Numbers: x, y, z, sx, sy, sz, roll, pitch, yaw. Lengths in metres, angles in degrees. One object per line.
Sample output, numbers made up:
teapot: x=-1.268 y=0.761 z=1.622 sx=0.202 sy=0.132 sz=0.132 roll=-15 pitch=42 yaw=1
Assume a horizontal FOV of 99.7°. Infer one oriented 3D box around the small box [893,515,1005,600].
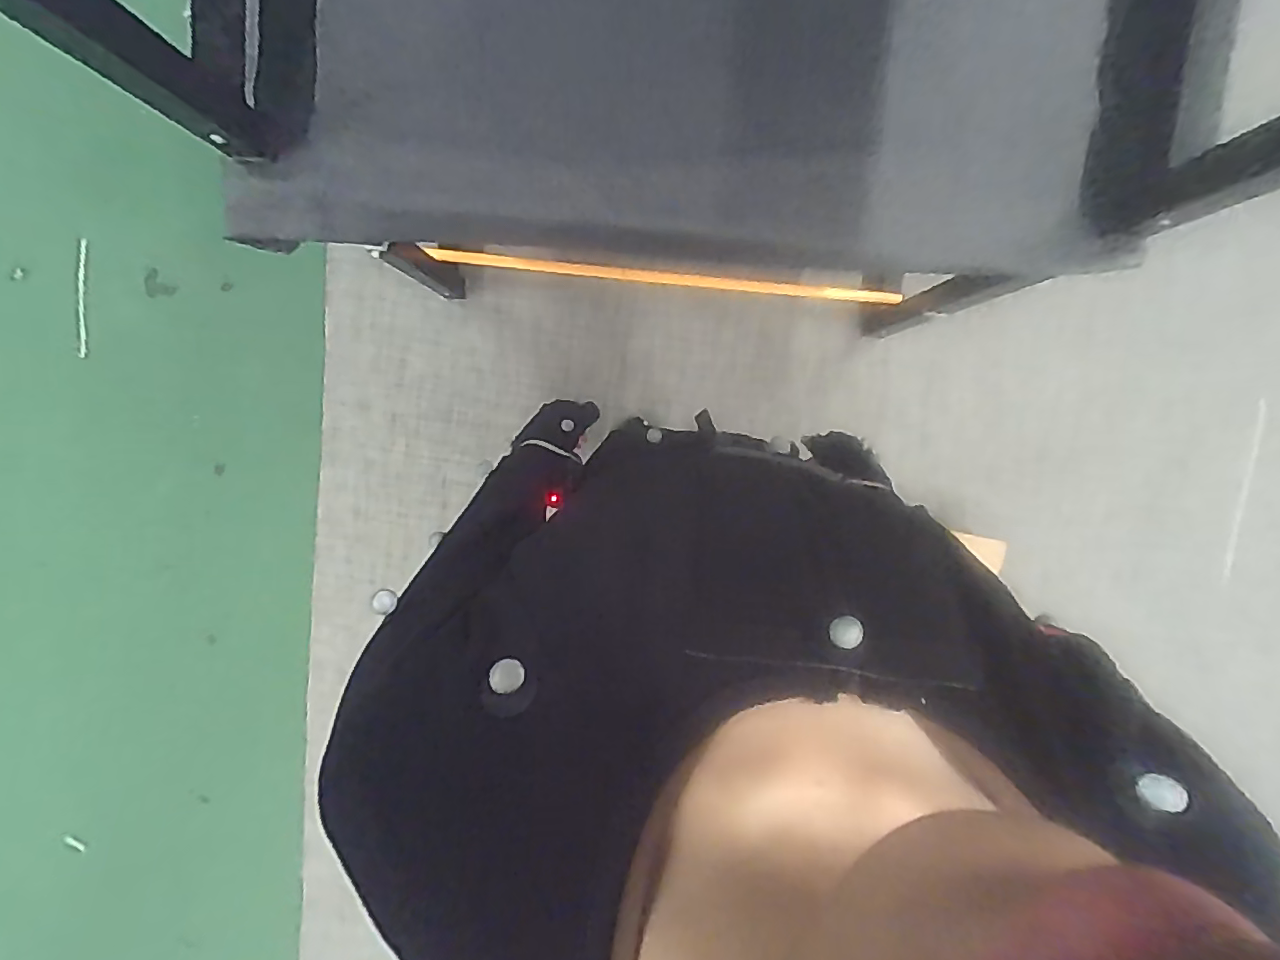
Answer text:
small box: x=0.800 y=0.195 z=1.416 sx=0.179 sy=0.176 sz=0.168 roll=12 pitch=96 yaw=0
